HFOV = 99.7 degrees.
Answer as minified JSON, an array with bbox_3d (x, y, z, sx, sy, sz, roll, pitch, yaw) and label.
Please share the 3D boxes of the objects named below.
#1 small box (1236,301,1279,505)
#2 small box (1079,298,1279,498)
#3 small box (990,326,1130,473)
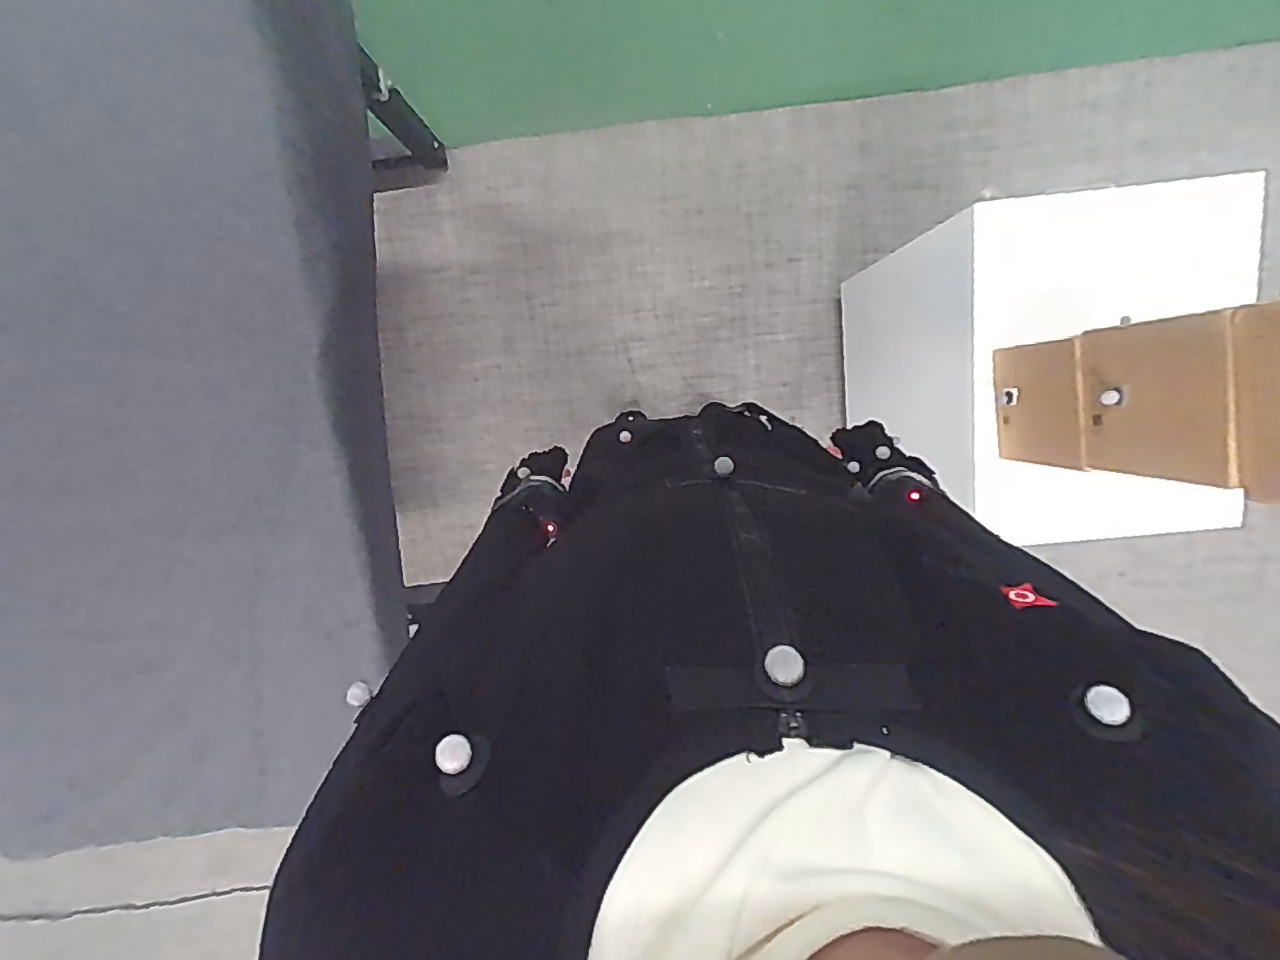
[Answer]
[{"bbox_3d":[0.596,-0.065,0.388,0.168,0.176,0.179,-11,97,3],"label":"small box"},{"bbox_3d":[0.602,-0.091,0.550,0.179,0.176,0.168,-12,98,2],"label":"small box"},{"bbox_3d":[0.602,-0.112,0.712,0.179,0.176,0.168,-9,97,4],"label":"small box"}]
